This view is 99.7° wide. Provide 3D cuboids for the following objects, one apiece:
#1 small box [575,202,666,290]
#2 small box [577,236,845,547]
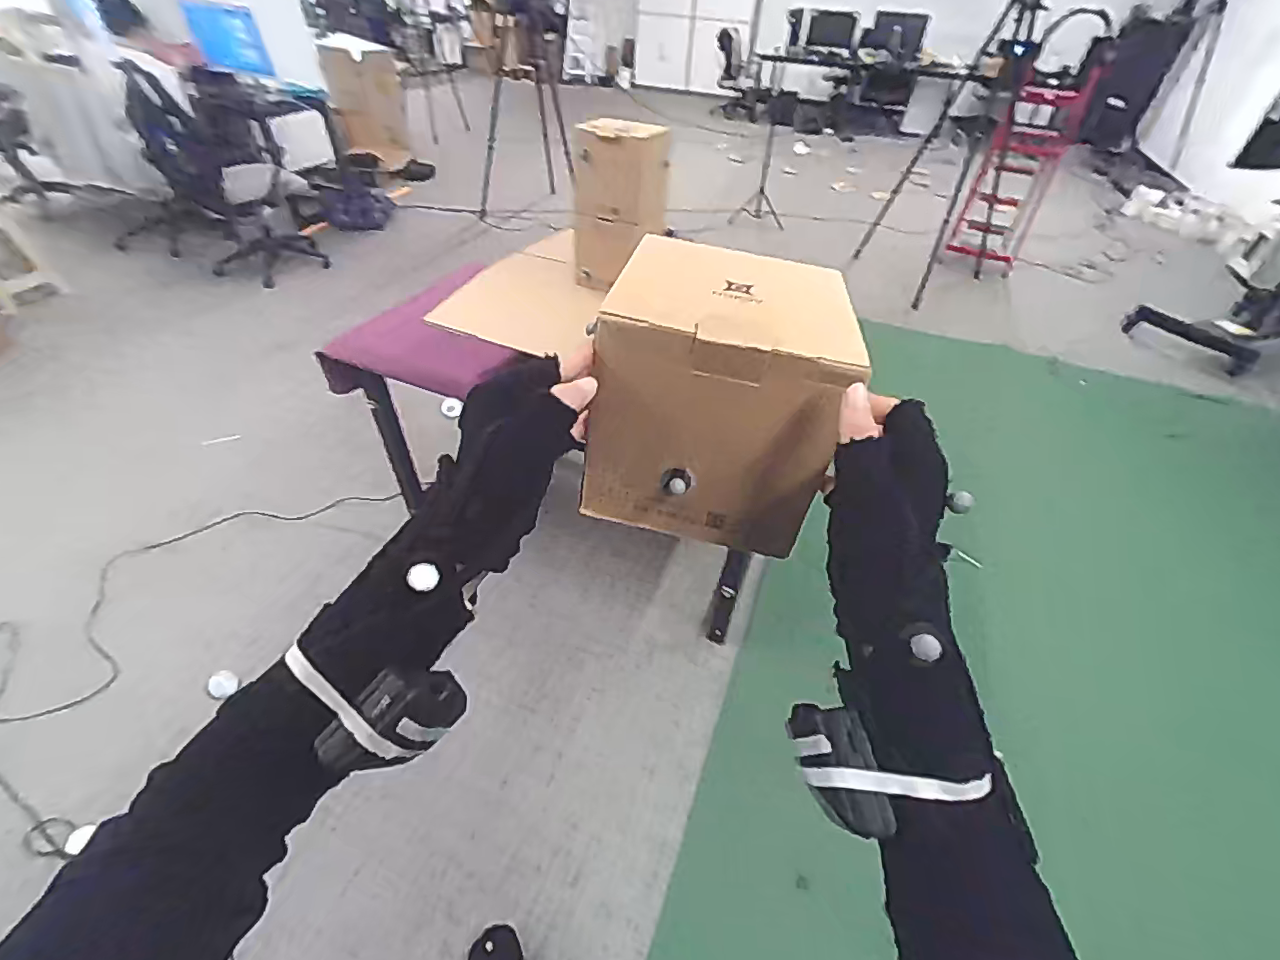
[{"bbox_3d":[-0.046,-0.570,1.340,0.168,0.176,0.179,19,42,16],"label":"small box"},{"bbox_3d":[0.048,-0.075,0.444,0.168,0.176,0.179,12,41,2],"label":"small box"}]
